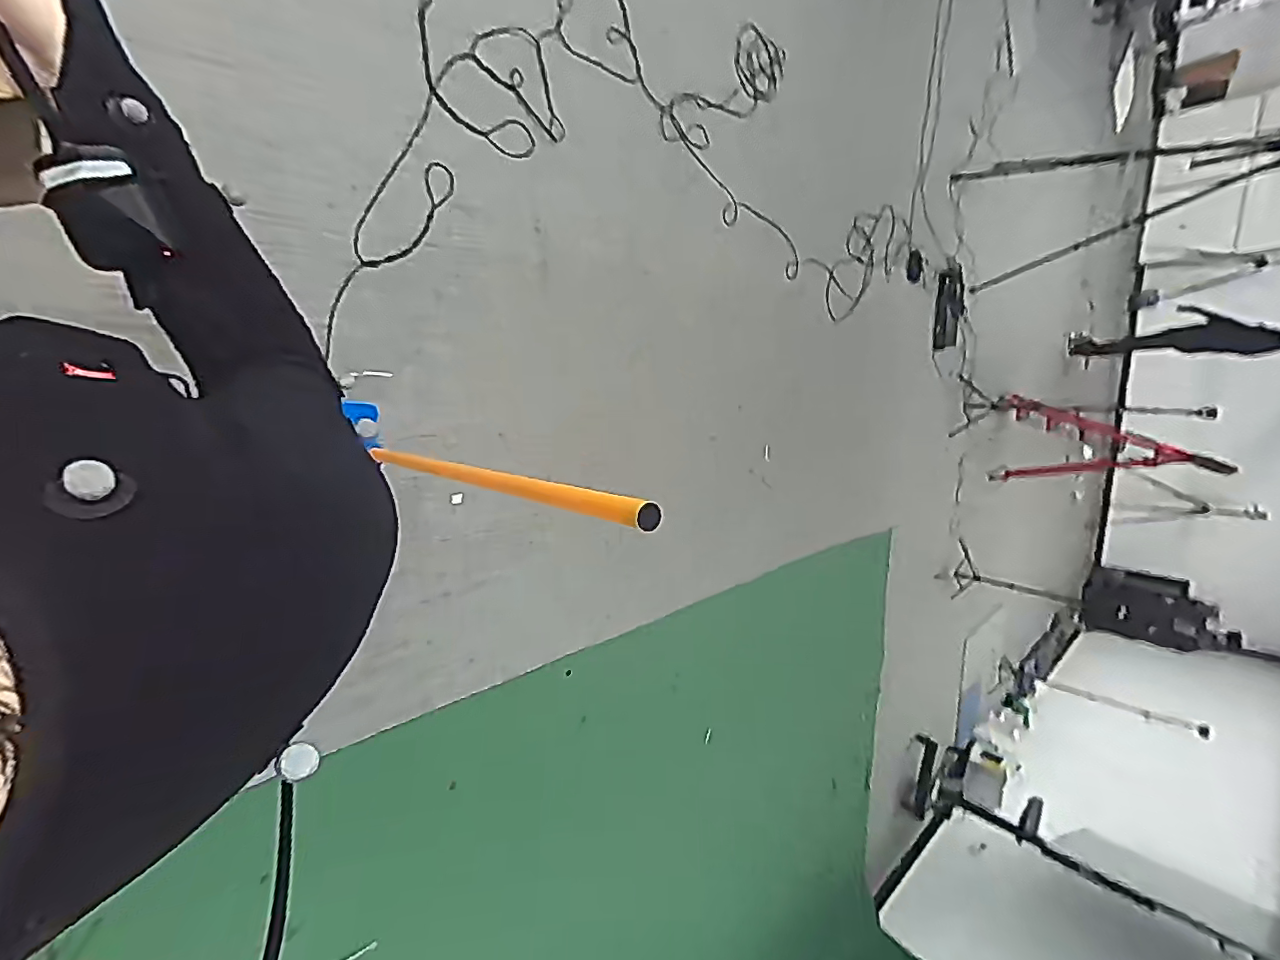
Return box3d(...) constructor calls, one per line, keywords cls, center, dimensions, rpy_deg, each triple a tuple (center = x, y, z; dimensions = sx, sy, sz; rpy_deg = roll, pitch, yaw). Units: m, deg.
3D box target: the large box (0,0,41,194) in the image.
box3d(cls="large box", center=(-0.644, -0.311, 0.253), dimensions=(0.408, 0.320, 0.320), rpy_deg=(-35, 123, -39))
